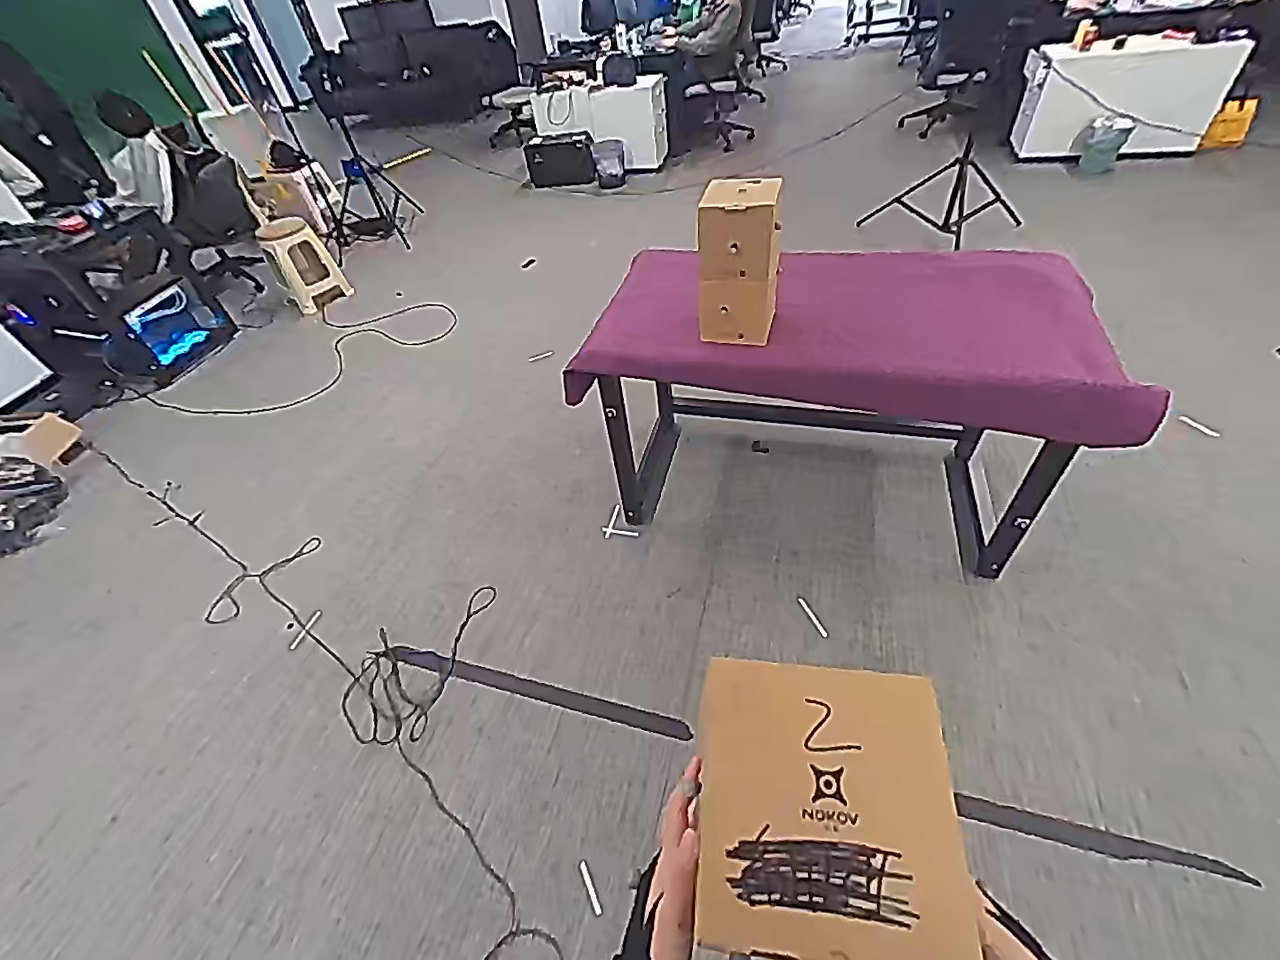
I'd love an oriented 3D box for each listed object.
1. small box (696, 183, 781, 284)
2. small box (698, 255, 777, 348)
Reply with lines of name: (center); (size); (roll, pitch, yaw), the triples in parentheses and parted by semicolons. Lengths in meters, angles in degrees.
small box: (0.231, -0.571, 1.259); (0.168, 0.176, 0.179); (8, 48, 15)
small box: (0.249, -0.453, 1.372); (0.168, 0.176, 0.179); (9, 47, 16)
